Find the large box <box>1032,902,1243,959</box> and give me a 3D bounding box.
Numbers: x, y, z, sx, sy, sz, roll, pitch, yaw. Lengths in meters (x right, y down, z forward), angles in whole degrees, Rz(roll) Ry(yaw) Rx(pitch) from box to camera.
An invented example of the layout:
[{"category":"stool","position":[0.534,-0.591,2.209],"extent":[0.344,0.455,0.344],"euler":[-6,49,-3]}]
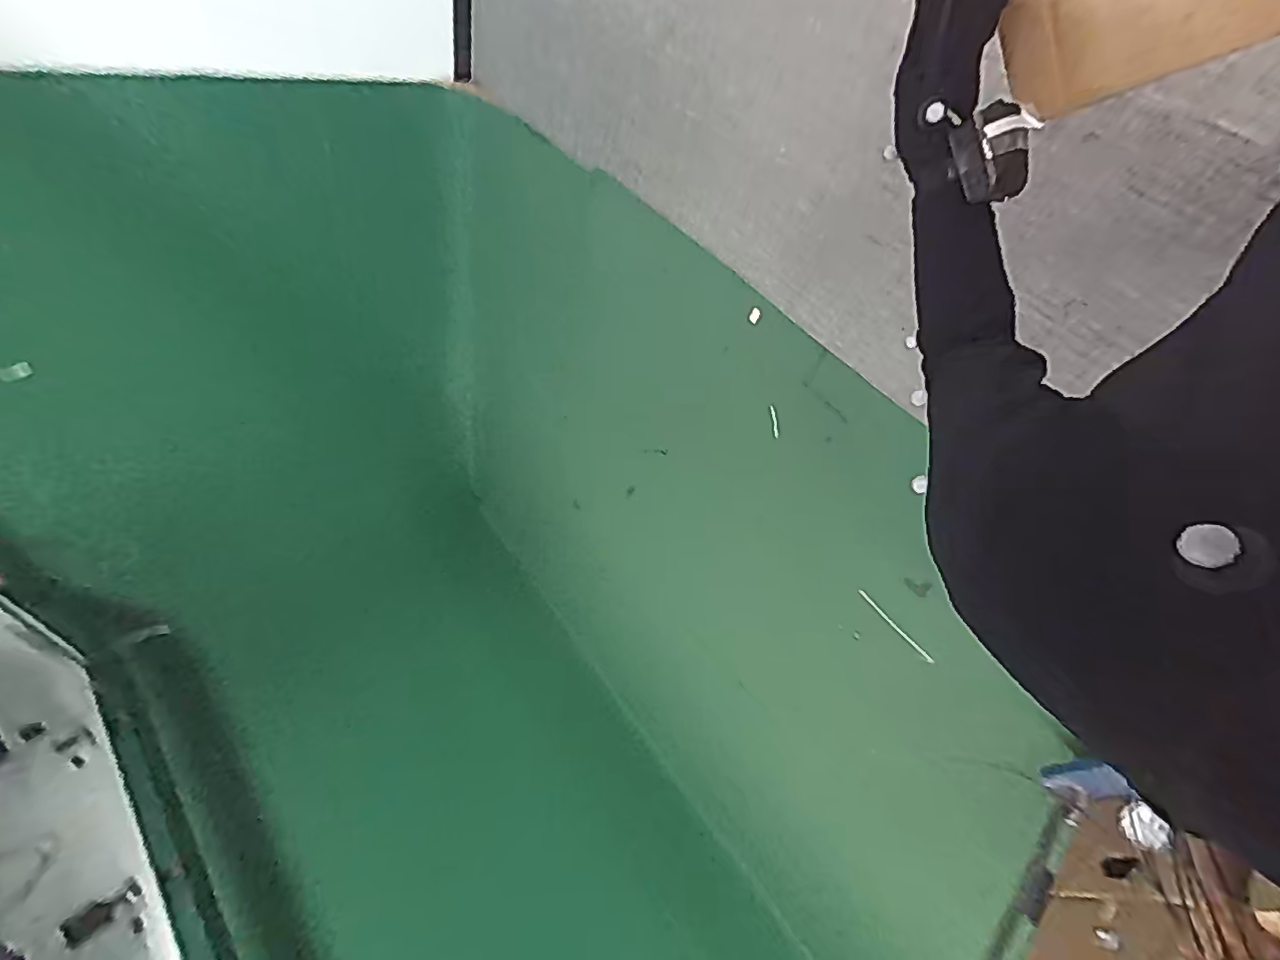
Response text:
[{"category":"large box","position":[1.006,1.085,0.988],"extent":[0.408,0.320,0.320],"euler":[50,146,16]}]
